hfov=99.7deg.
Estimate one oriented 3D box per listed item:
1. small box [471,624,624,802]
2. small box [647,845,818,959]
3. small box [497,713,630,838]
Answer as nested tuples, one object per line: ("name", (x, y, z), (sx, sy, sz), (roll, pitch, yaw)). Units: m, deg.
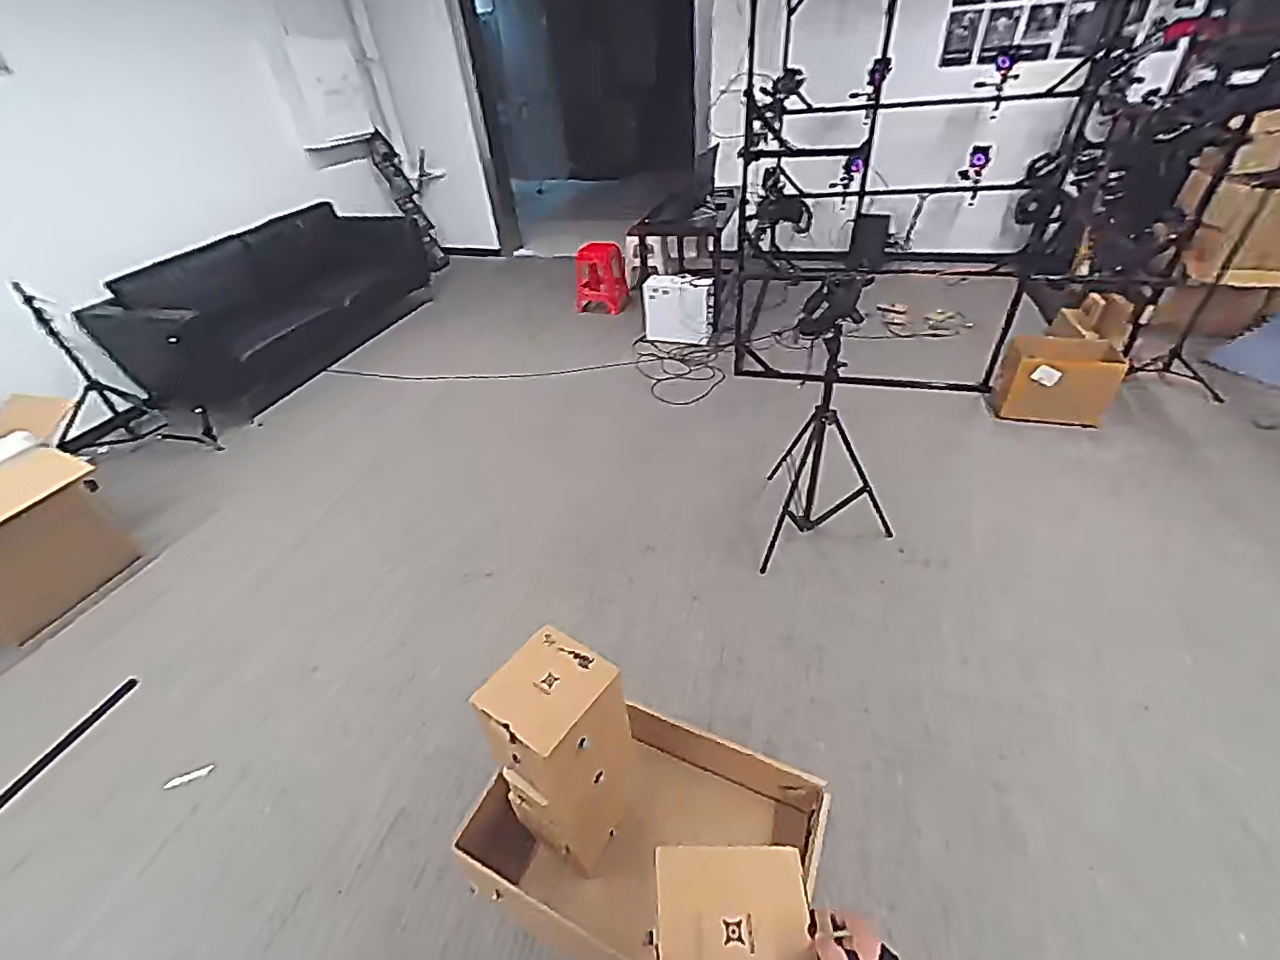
("small box", (-0.141, 0.382, 0.889), (0.168, 0.176, 0.179), (22, 45, 31))
("small box", (0.101, 0.558, 0.643), (0.179, 0.176, 0.168), (1, 39, -2))
("small box", (-0.129, 0.508, 0.994), (0.168, 0.176, 0.179), (19, 43, 28))
